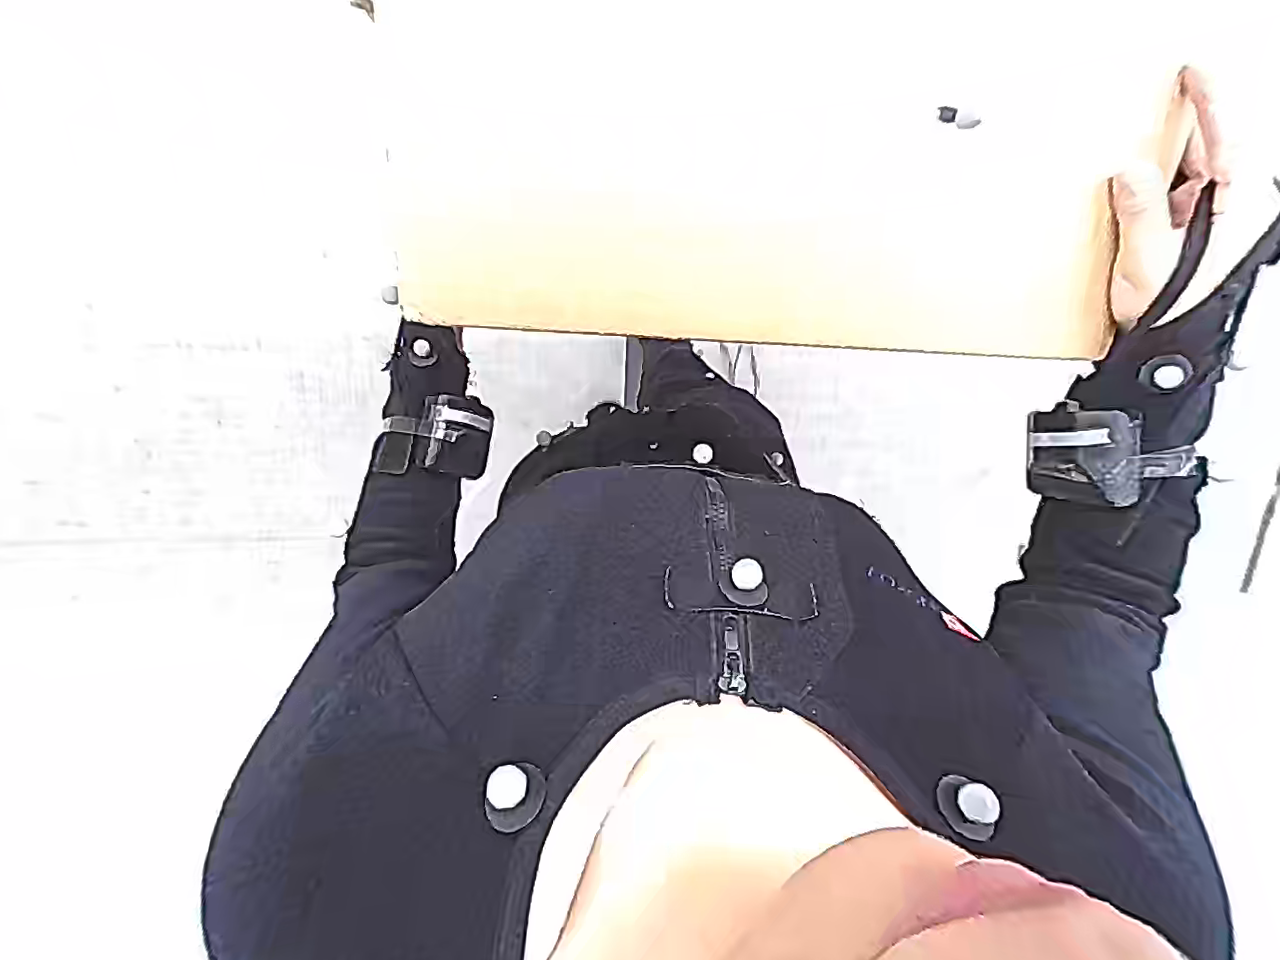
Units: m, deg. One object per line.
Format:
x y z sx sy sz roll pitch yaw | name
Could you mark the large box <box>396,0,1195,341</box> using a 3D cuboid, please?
0.064 -0.278 0.394 0.408 0.320 0.320 0 111 -11 | large box
